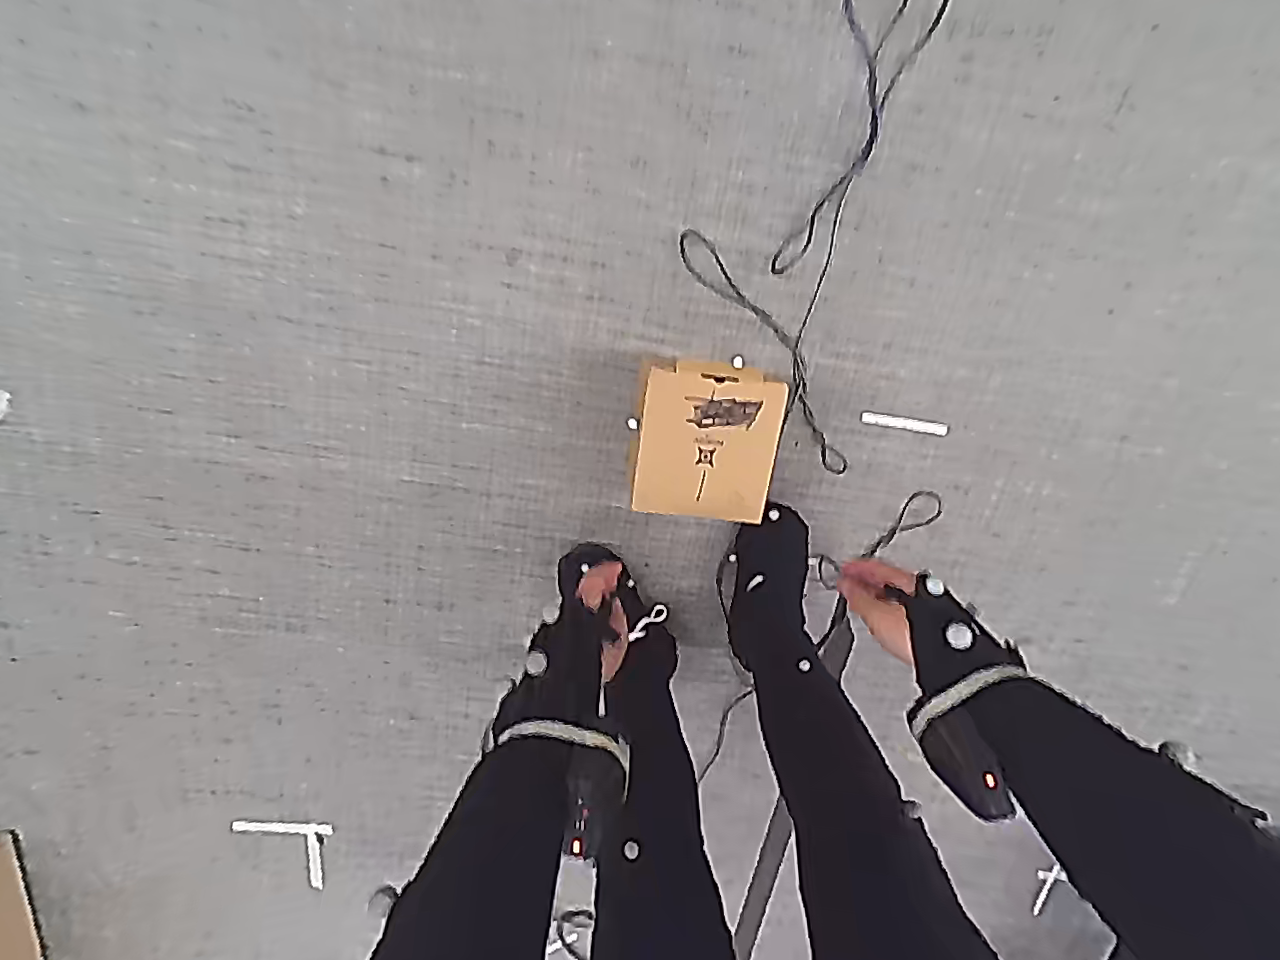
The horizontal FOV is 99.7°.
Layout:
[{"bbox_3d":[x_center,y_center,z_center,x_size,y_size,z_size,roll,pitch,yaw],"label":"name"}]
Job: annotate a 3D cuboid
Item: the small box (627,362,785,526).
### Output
[{"bbox_3d":[0.074,-0.057,0.722,0.168,0.176,0.179,7,107,-5],"label":"small box"}]
